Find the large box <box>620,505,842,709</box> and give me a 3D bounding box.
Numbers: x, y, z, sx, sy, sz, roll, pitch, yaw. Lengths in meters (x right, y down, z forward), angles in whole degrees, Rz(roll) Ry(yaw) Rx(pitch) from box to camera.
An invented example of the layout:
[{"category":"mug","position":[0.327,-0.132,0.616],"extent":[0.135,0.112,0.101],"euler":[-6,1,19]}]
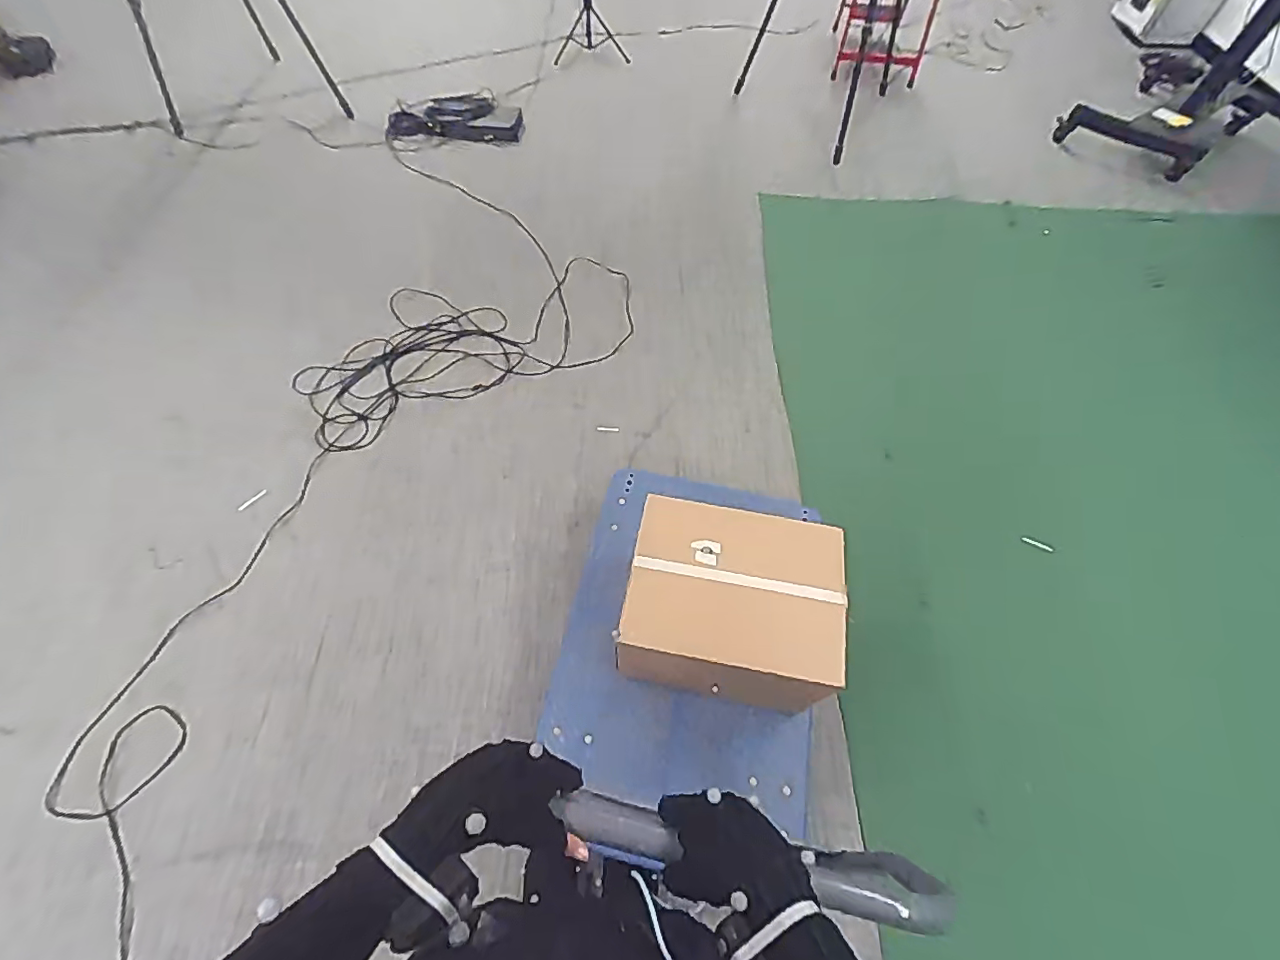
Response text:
[{"category":"large box","position":[0.185,0.282,1.167],"extent":[0.408,0.320,0.320],"euler":[9,58,5]}]
